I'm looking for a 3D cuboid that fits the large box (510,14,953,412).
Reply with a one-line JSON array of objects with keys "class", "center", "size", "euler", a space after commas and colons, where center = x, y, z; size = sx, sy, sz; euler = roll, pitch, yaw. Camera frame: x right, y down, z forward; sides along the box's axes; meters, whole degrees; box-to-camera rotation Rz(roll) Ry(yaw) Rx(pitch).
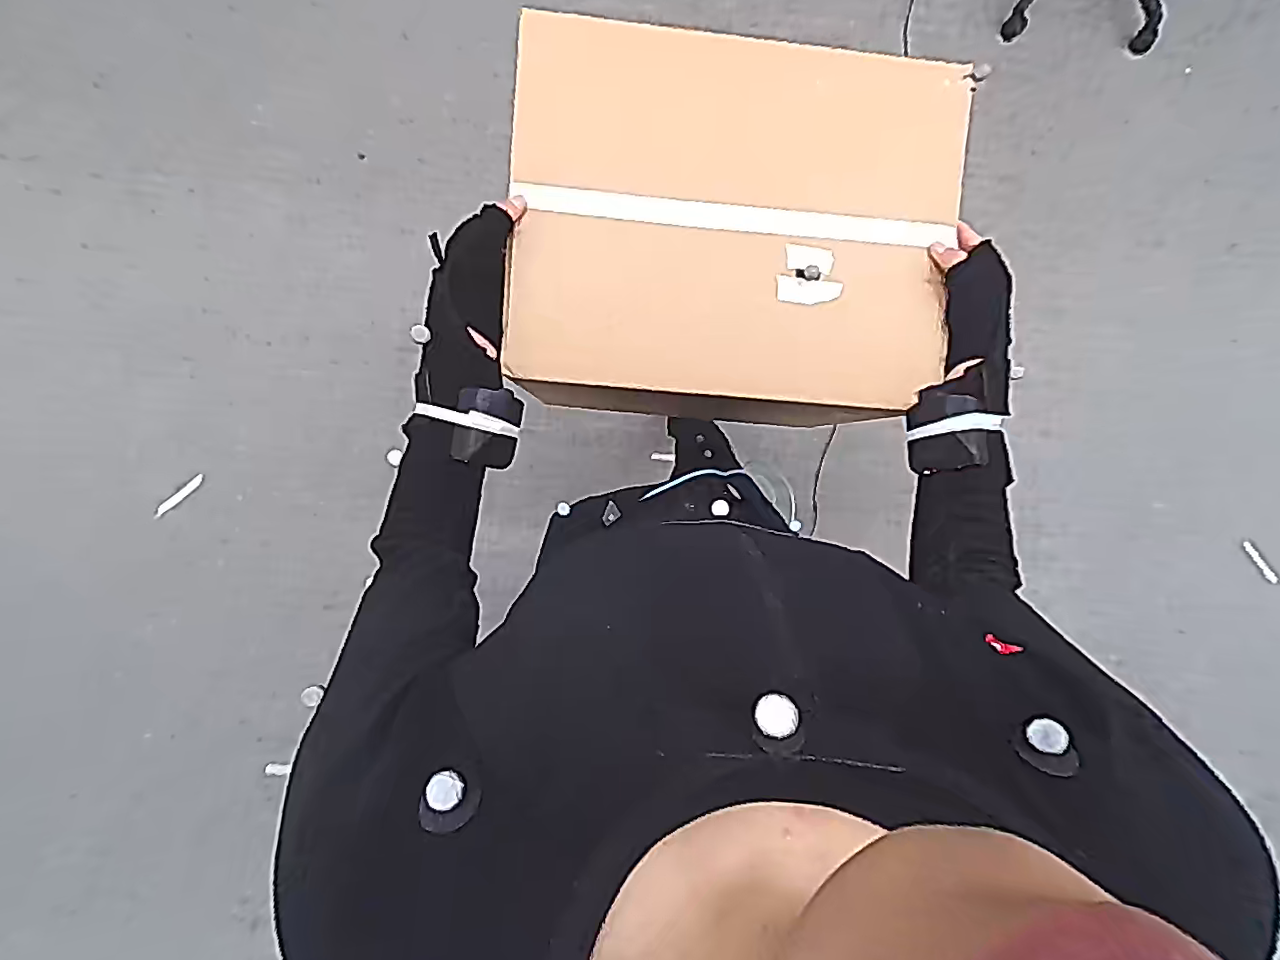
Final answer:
[{"class": "large box", "center": [0.074, -0.257, 0.647], "size": [0.408, 0.320, 0.320], "euler": [4, 94, -5]}]
